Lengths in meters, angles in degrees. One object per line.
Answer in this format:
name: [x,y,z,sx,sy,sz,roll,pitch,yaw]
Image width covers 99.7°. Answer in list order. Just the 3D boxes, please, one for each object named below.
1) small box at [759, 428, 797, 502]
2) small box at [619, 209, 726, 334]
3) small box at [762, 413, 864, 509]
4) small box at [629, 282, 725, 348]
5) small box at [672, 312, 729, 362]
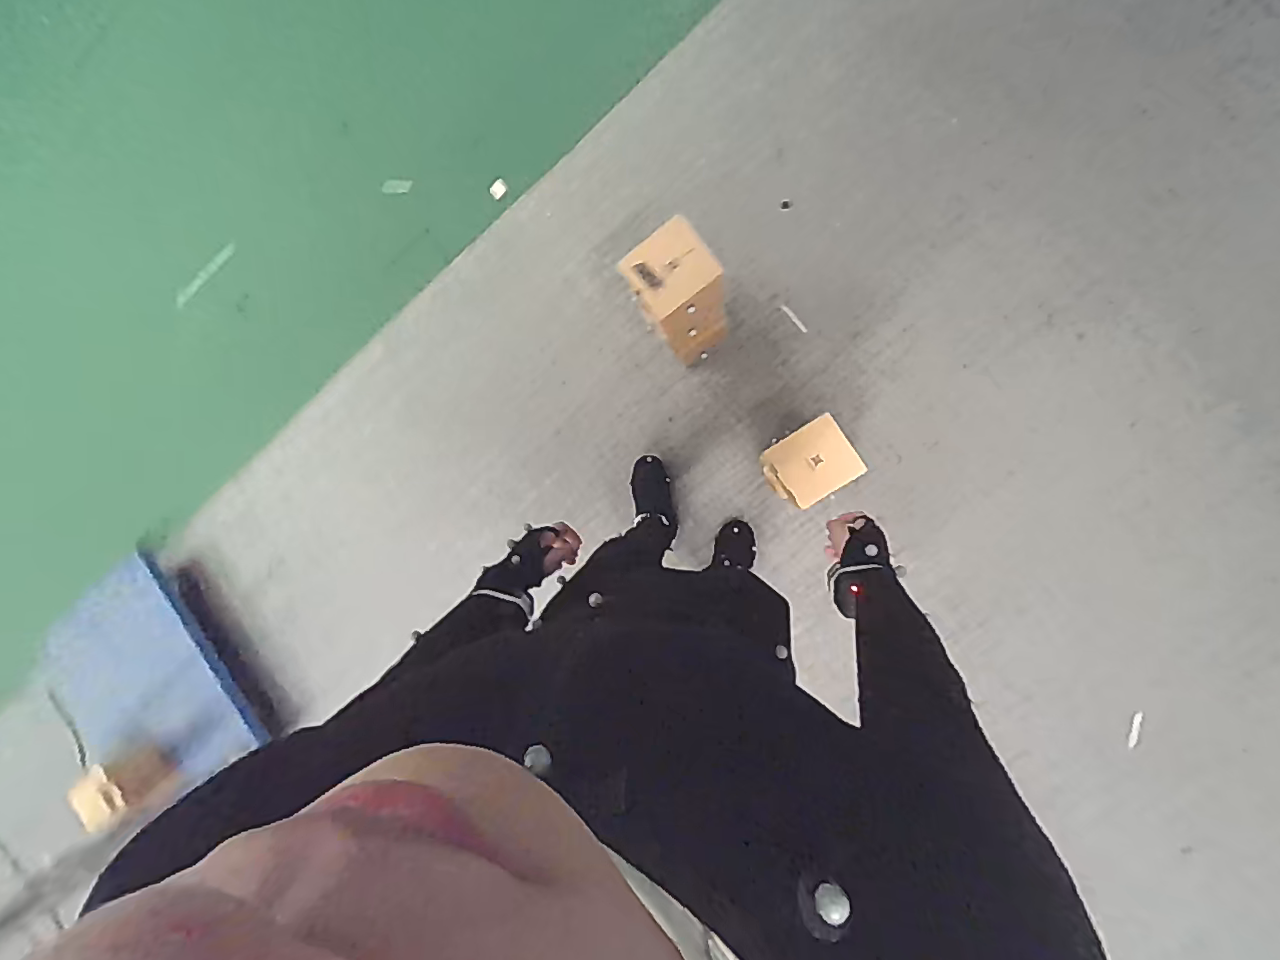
small box: [0.438,-0.052,1.488,0.179,0.176,0.168,-27,83,11]
small box: [0.082,-0.459,1.223,0.179,0.176,0.168,-35,84,9]
small box: [0.414,-0.047,1.329,0.179,0.176,0.168,-32,85,10]
small box: [0.102,-0.464,1.387,0.179,0.176,0.168,-34,84,11]
small box: [0.140,-0.463,1.546,0.168,0.176,0.179,-33,85,10]
